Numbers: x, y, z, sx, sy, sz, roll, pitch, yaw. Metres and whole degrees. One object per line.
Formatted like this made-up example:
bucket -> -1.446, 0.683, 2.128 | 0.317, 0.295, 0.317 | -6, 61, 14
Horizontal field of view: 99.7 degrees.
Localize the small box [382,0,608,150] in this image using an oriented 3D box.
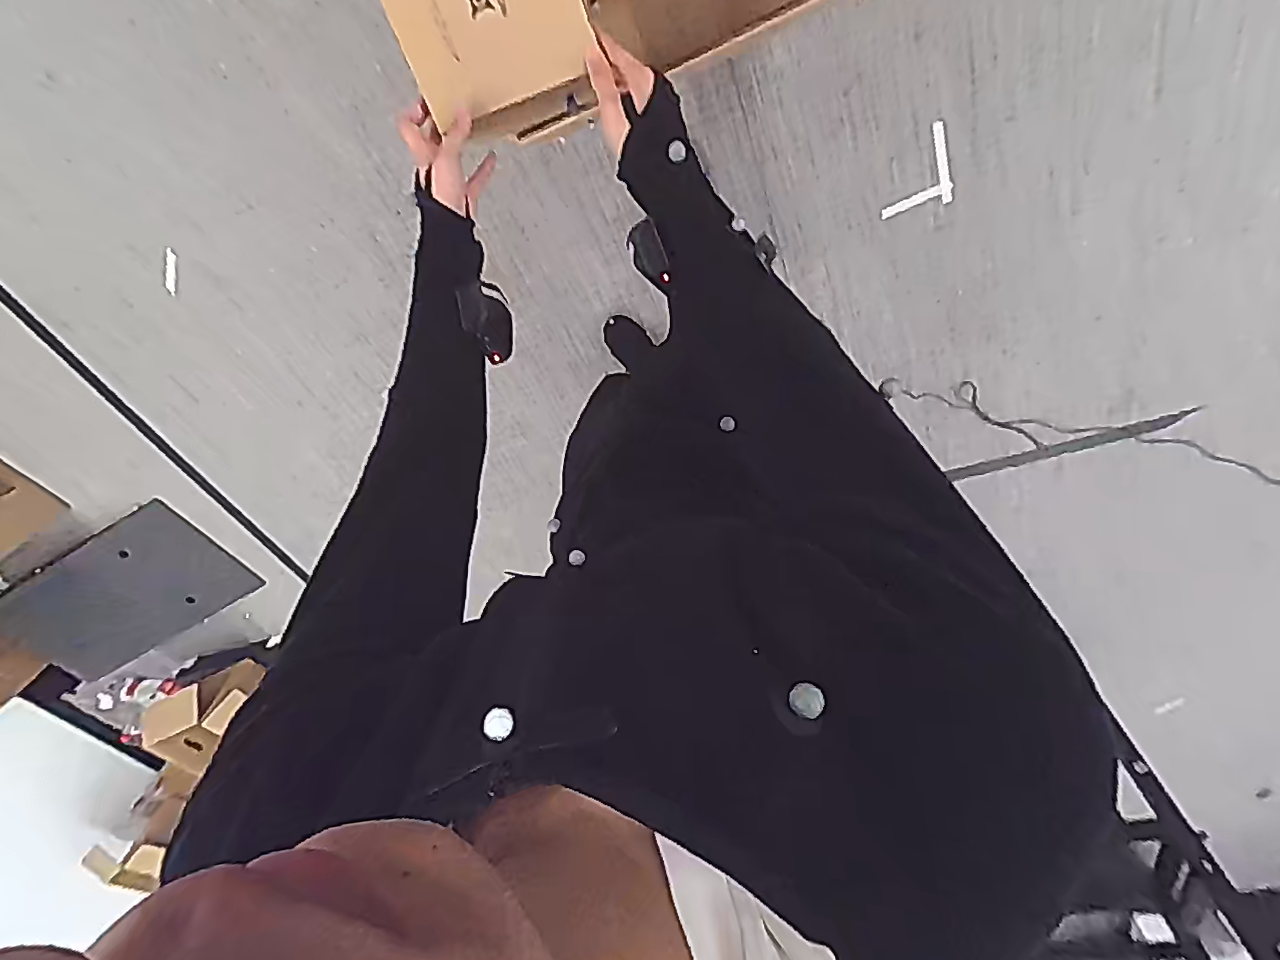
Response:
small box -> -0.141, -0.460, 0.552 | 0.179, 0.176, 0.168 | -18, 117, 6
